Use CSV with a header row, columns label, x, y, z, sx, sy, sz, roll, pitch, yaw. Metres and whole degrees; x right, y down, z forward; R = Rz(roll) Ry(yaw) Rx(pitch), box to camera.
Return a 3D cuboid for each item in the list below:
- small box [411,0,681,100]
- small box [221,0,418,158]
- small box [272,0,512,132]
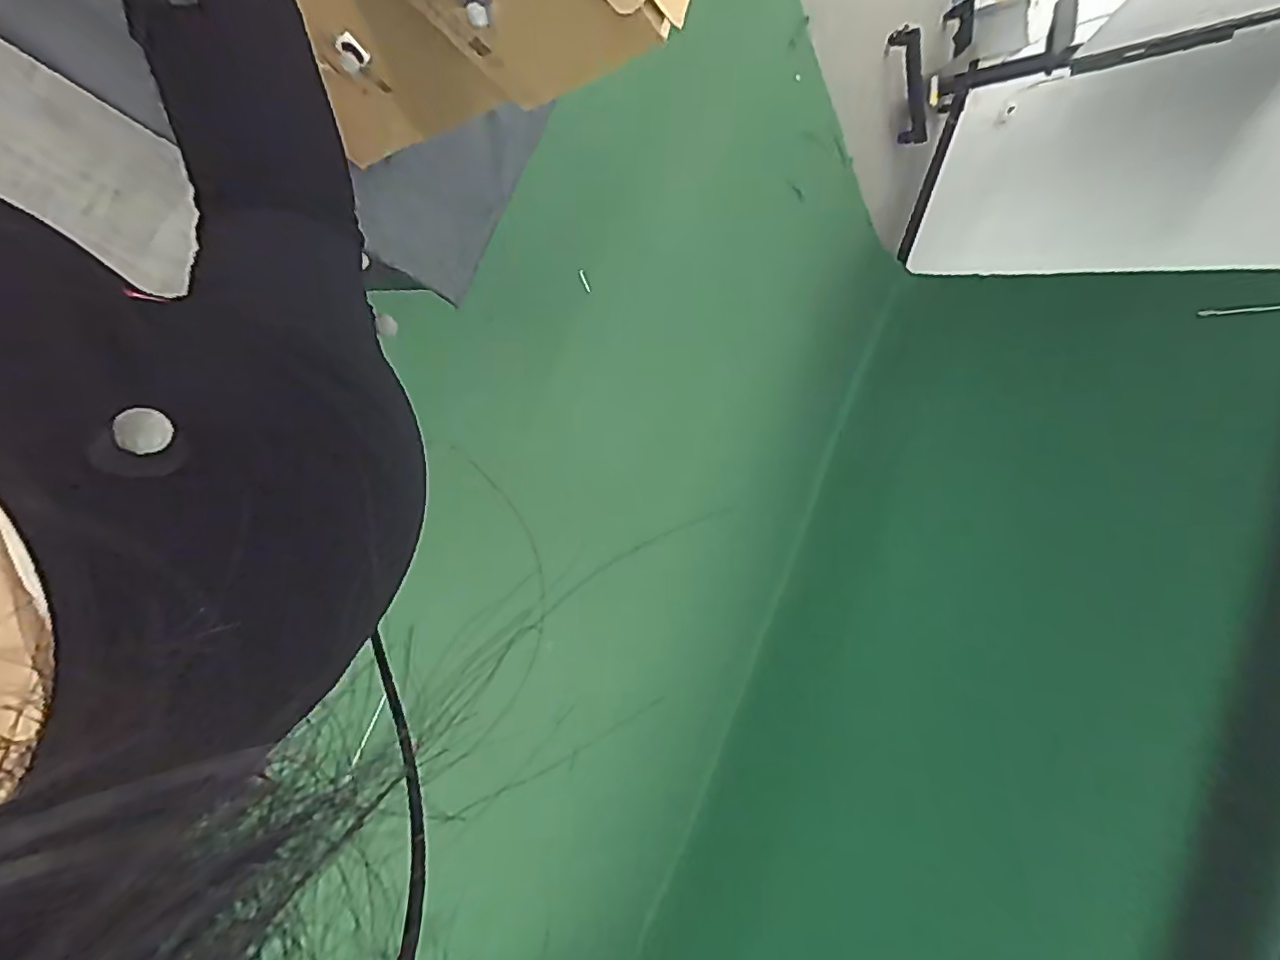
label,x,y,z,sx,sy,sz,roll,pitch,yaw
small box,-0.068,-0.412,0.364,0.168,0.176,0.179,19,85,-48
small box,-0.309,-0.485,0.576,0.168,0.176,0.179,30,76,-49
small box,-0.190,-0.451,0.470,0.168,0.176,0.179,24,83,-48
